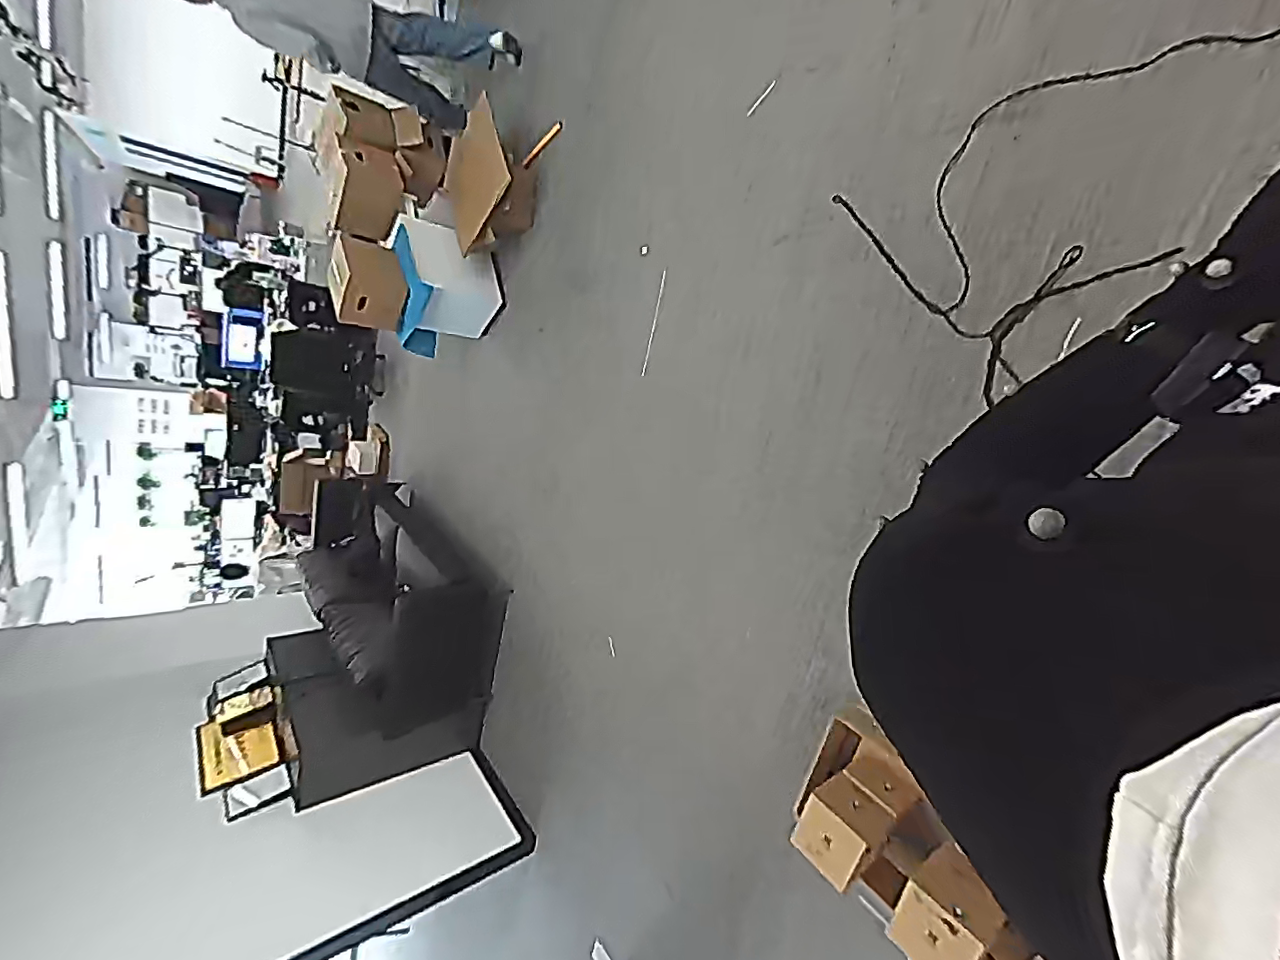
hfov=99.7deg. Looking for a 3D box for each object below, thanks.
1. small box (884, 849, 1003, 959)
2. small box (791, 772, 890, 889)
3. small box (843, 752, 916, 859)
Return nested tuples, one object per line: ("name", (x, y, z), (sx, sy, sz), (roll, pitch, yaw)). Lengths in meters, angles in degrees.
("small box", (0.713, 1.026, 1.267), (0.168, 0.176, 0.179), (30, 112, 45))
("small box", (0.546, 0.936, 1.461), (0.168, 0.176, 0.179), (33, 114, 43))
("small box", (0.671, 0.933, 1.569), (0.168, 0.176, 0.179), (32, 113, 43))
